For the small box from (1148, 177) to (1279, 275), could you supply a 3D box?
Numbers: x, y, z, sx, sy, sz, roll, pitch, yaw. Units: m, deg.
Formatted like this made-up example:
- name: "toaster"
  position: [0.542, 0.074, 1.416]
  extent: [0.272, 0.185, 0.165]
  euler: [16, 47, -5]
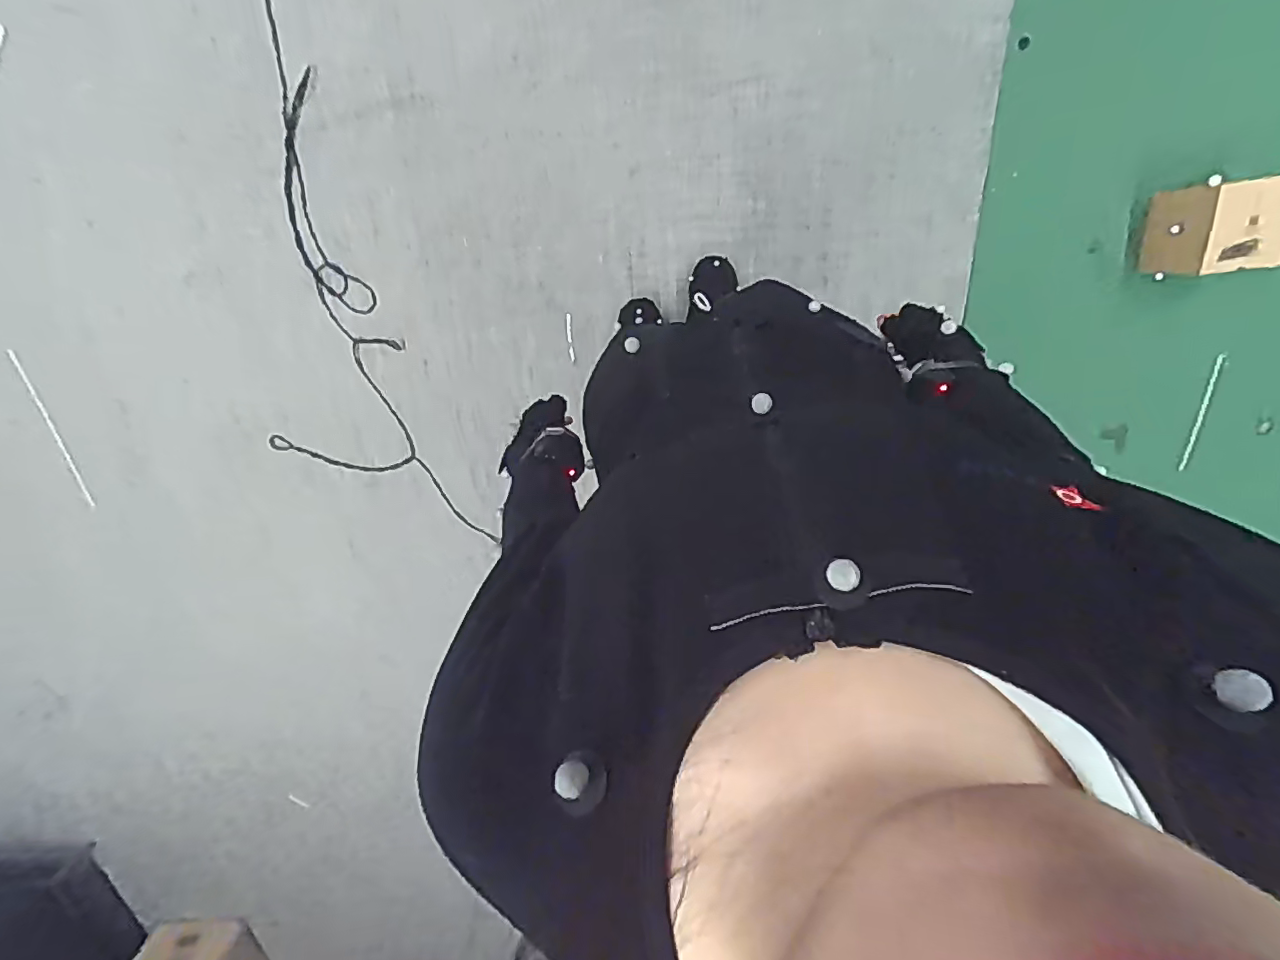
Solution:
- name: "small box"
  position: [1.265, -0.548, 1.173]
  extent: [0.168, 0.176, 0.179]
  euler: [-5, 111, 4]
